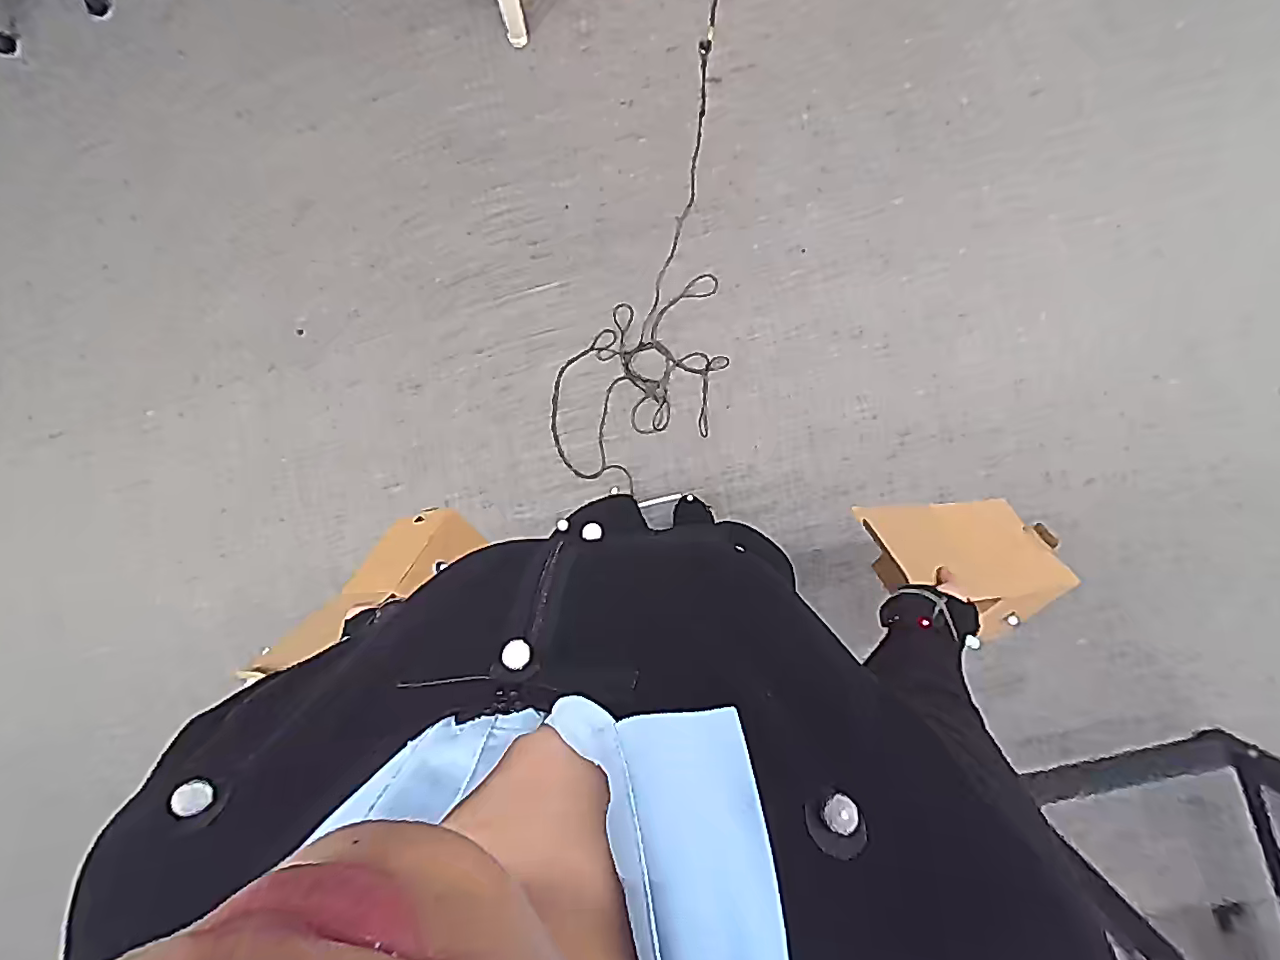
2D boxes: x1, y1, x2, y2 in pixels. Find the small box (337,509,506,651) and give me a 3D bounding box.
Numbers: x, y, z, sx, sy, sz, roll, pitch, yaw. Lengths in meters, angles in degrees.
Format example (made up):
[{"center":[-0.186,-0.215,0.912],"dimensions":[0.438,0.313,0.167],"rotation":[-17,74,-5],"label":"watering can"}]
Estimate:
[{"center":[-0.364,0.176,0.931],"dimensions":[0.168,0.179,0.176],"rotation":[-10,129,34],"label":"small box"}]
